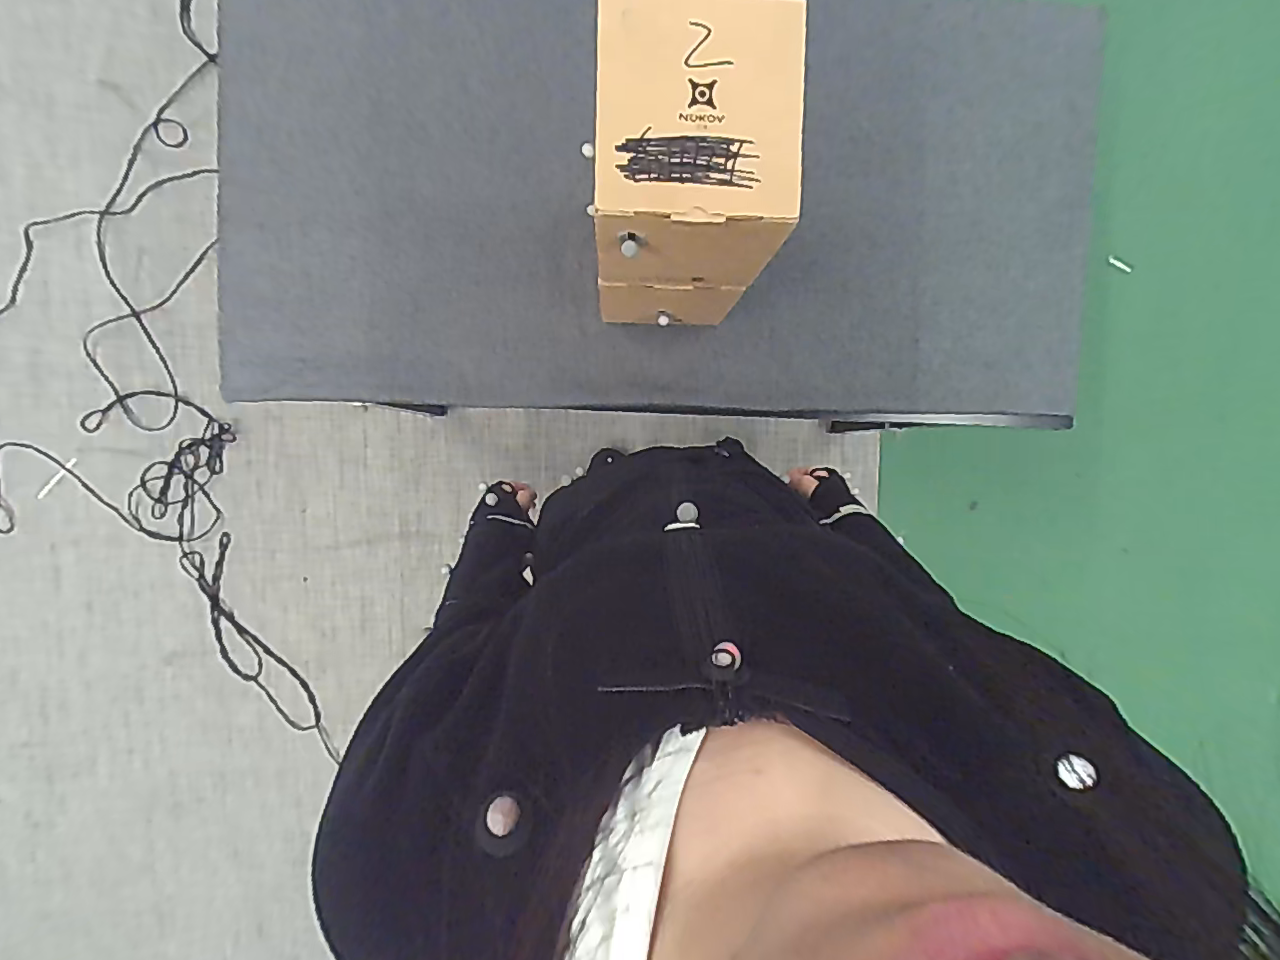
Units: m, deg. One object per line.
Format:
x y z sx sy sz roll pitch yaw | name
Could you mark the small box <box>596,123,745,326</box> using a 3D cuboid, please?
0.029 -0.303 0.674 0.168 0.176 0.179 0 93 -3 | small box
